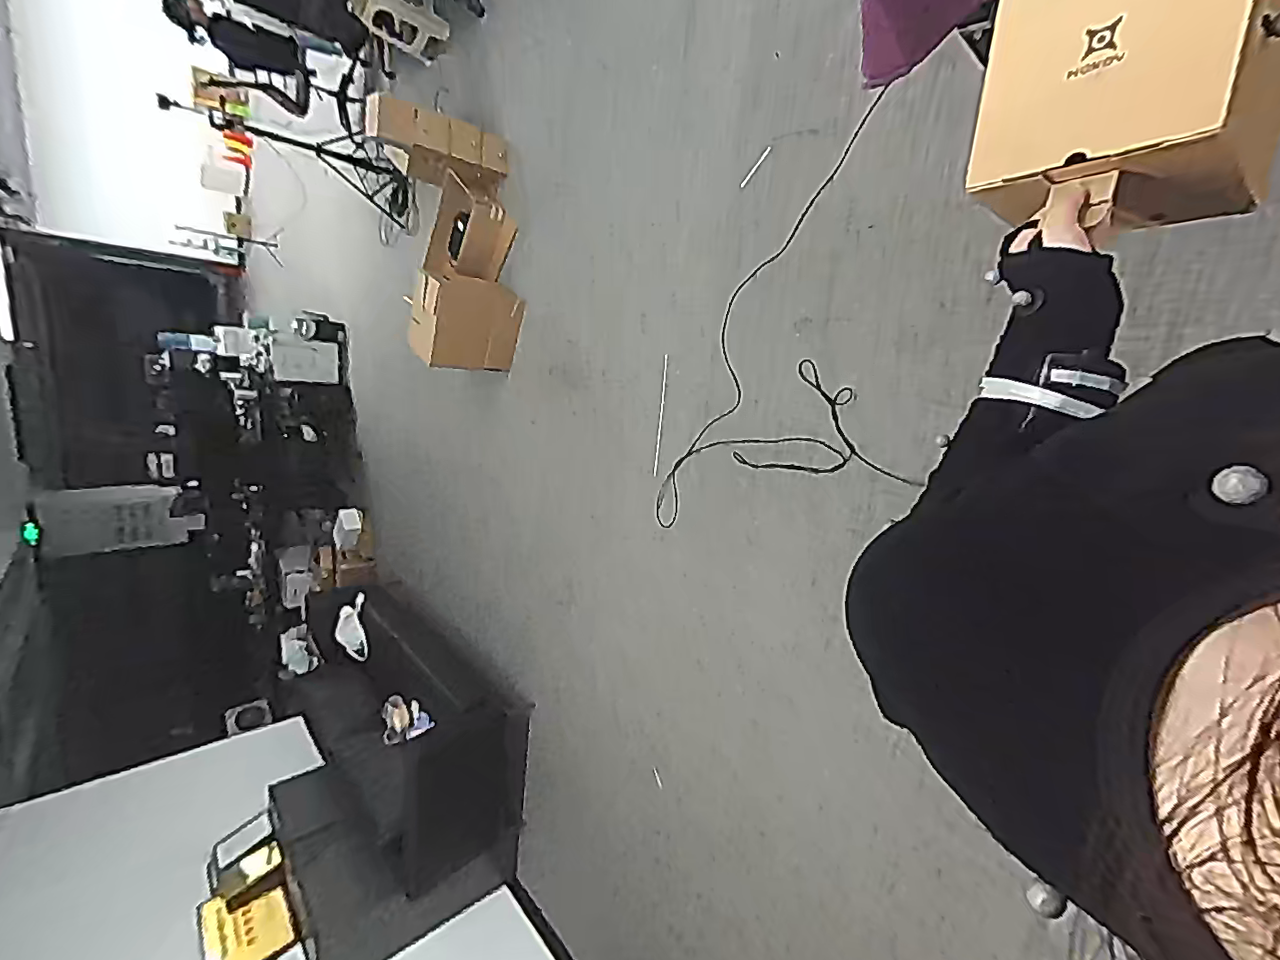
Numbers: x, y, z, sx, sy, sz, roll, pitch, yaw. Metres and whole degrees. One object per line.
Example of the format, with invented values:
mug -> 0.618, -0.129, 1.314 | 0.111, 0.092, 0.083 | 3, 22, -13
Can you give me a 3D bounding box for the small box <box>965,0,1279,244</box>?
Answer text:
small box -> 0.417, -0.327, 0.465 | 0.168, 0.176, 0.179 | 17, 103, 52
